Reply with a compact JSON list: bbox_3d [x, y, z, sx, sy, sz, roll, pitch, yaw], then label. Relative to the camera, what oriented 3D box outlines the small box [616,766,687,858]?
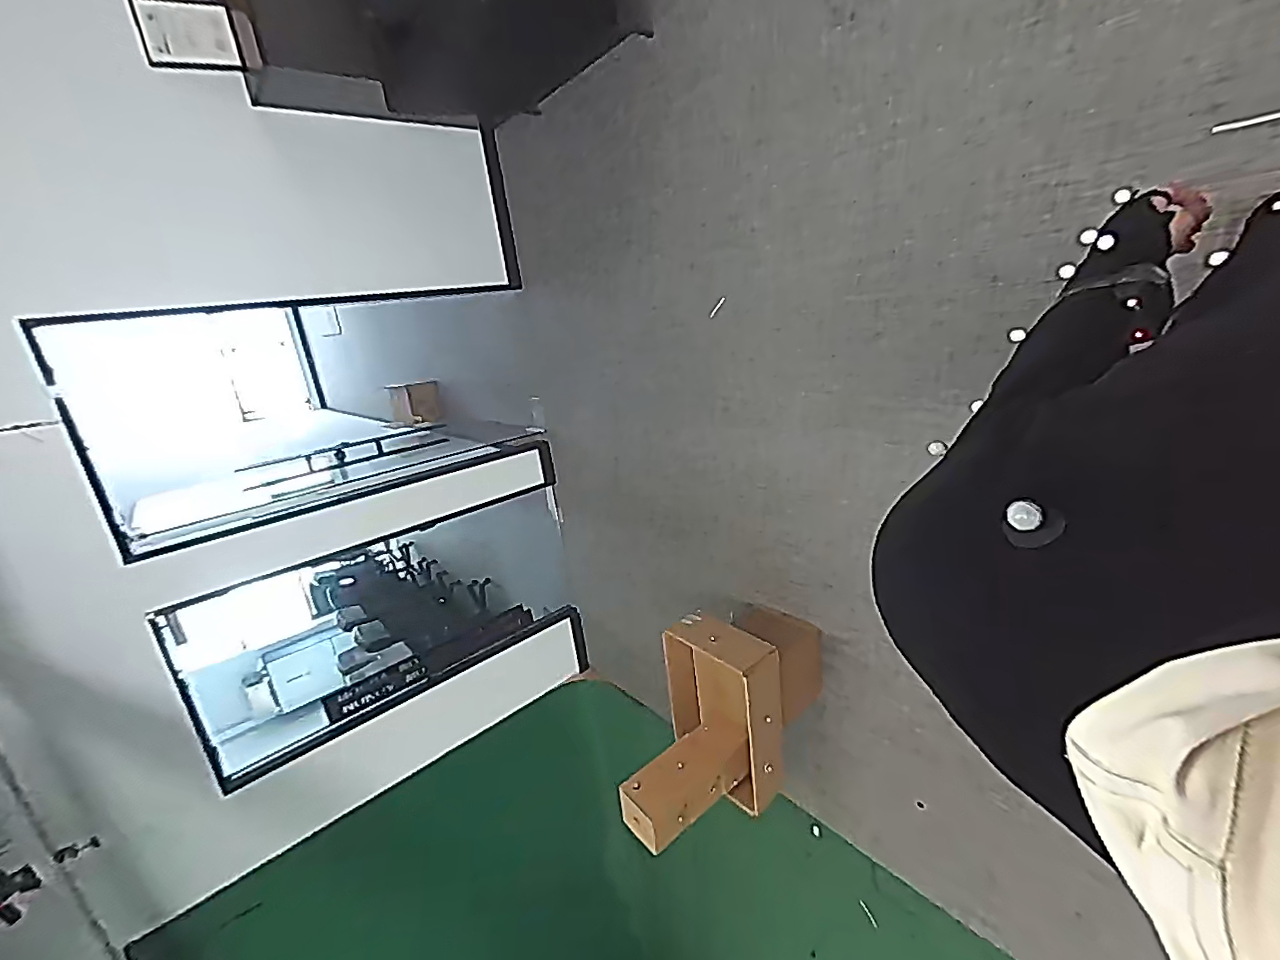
[{"bbox_3d":[0.041,1.113,1.834,0.179,0.176,0.168,19,121,47],"label":"small box"}]

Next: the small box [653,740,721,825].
[{"bbox_3d":[0.167,1.068,1.930,0.179,0.176,0.168,17,119,48],"label":"small box"}]
